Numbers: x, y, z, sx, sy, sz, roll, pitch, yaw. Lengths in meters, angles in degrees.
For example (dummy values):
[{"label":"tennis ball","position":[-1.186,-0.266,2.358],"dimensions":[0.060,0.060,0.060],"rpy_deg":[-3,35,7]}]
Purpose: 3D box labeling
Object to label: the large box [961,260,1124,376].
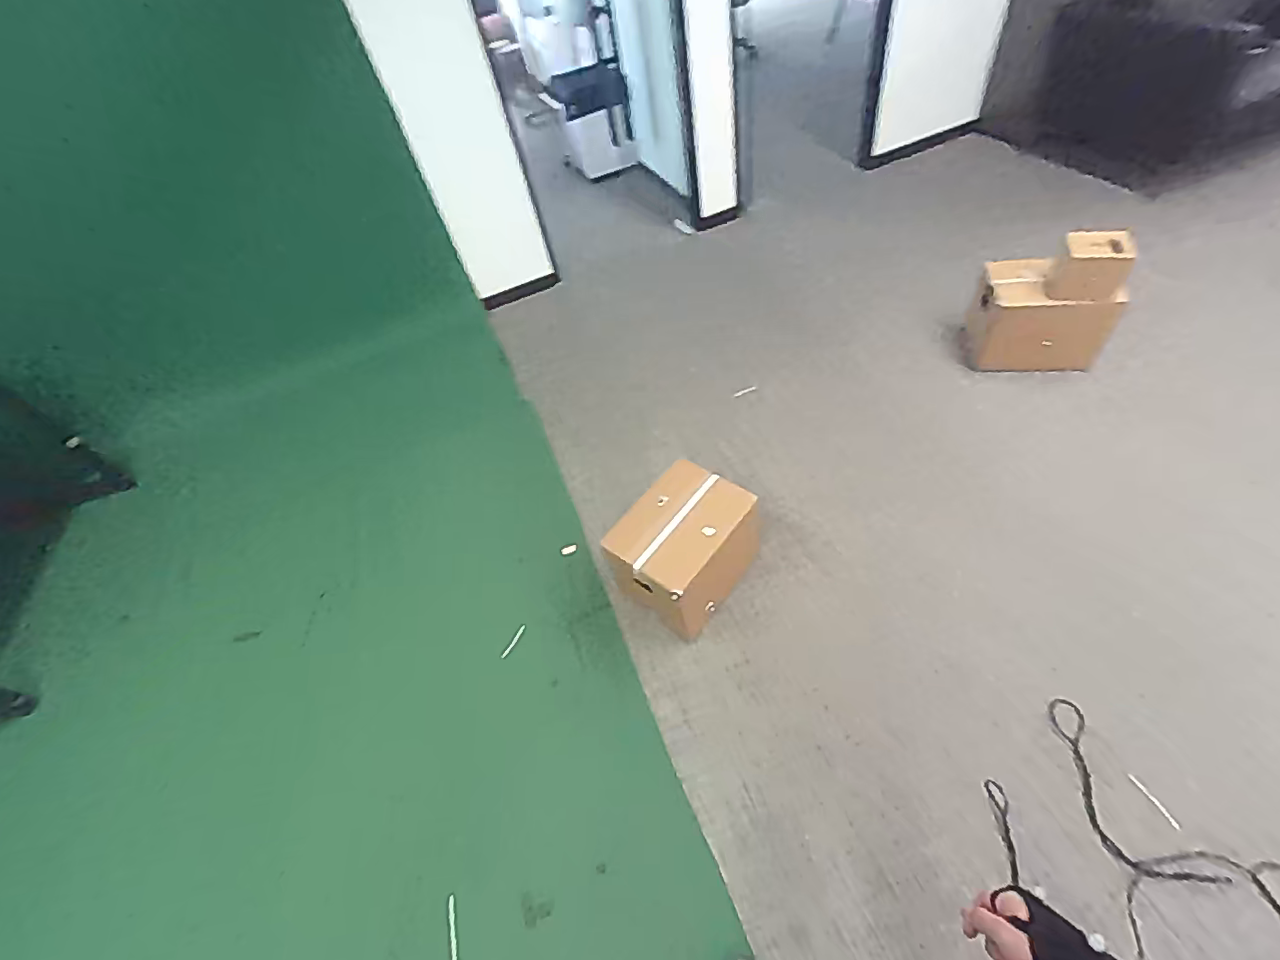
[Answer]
[{"label":"large box","position":[1.561,-0.634,2.143],"dimensions":[0.408,0.320,0.320],"rpy_deg":[1,50,15]}]
